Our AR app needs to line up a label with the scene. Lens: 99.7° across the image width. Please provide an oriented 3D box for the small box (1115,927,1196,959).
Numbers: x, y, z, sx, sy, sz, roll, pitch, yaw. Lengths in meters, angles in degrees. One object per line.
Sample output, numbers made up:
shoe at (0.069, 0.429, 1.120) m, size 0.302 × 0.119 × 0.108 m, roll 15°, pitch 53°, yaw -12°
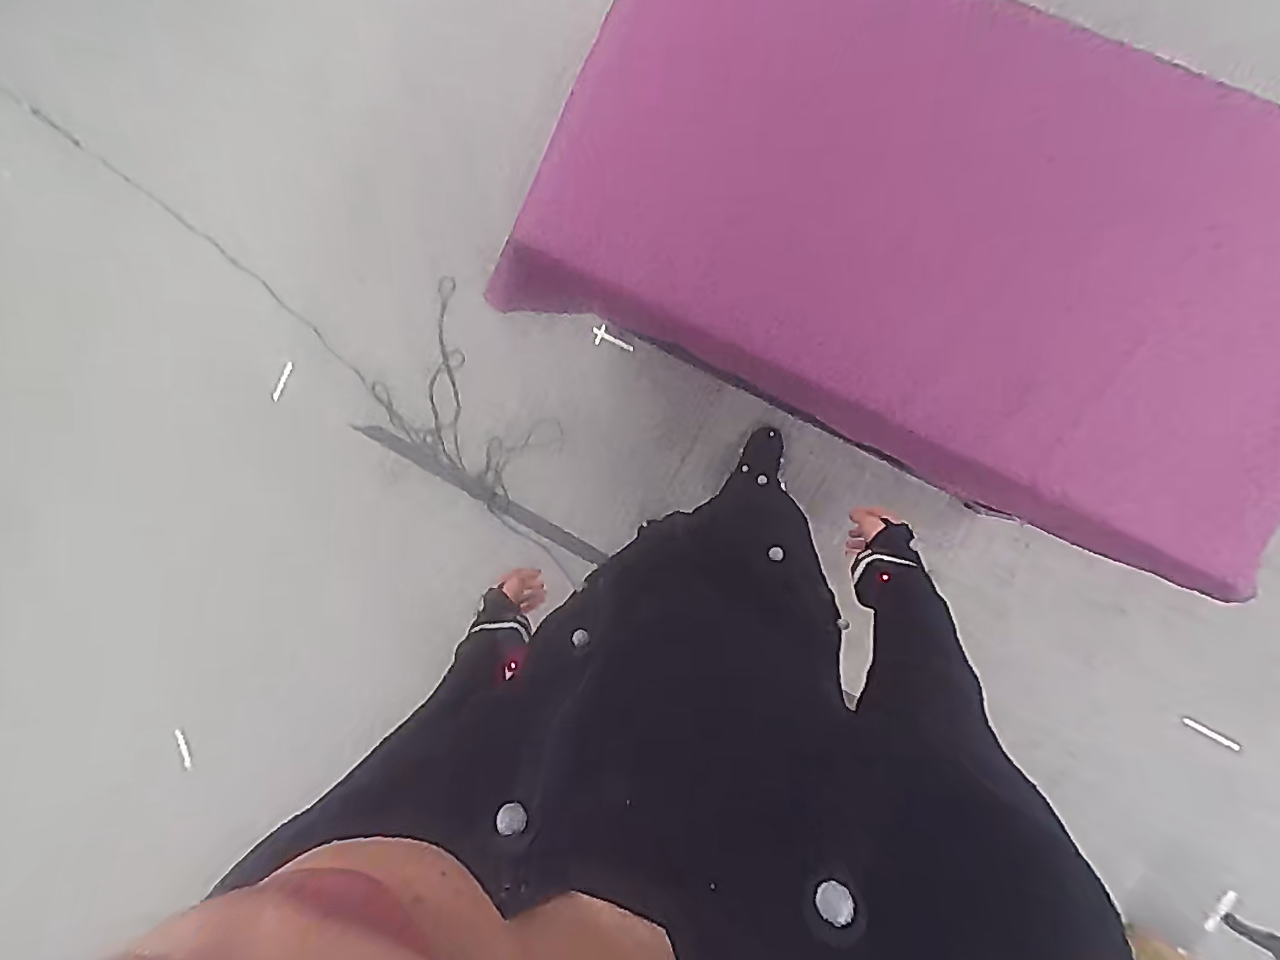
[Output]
small box at (1.395, 1.340, 1.409) m, size 0.168 × 0.176 × 0.179 m, roll 27°, pitch 96°, yaw 6°
